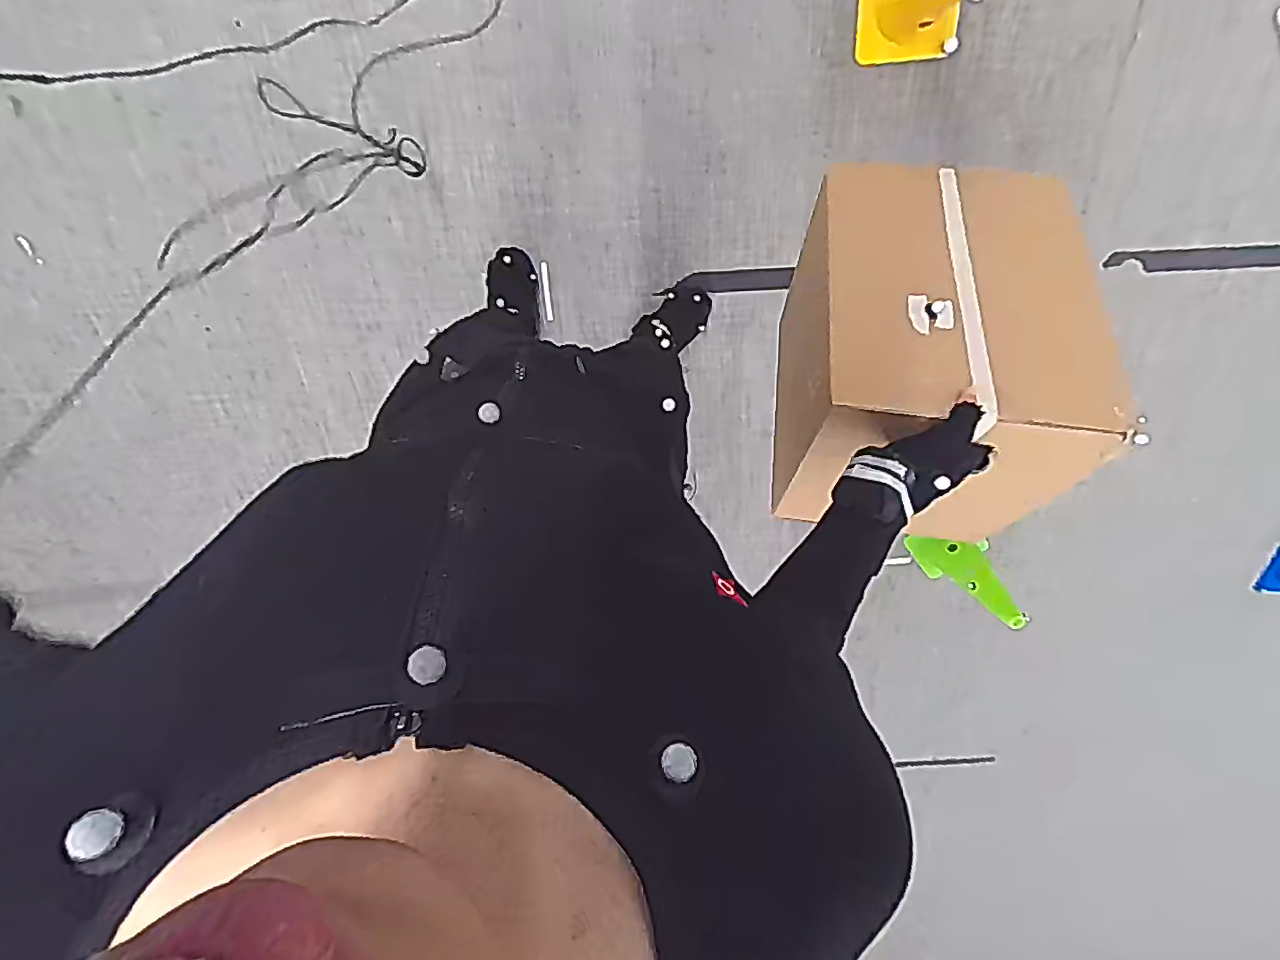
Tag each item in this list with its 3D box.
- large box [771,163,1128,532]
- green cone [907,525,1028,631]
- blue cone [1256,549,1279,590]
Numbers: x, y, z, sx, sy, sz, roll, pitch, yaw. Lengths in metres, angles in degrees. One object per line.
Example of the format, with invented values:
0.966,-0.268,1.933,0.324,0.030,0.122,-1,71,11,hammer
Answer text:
0.376,-0.176,0.782,0.320,0.408,0.320,6,155,5,large box
0.944,0.277,1.506,0.200,0.368,0.202,-37,113,18,green cone
2.073,0.347,1.556,0.193,0.380,0.192,0,118,1,blue cone
